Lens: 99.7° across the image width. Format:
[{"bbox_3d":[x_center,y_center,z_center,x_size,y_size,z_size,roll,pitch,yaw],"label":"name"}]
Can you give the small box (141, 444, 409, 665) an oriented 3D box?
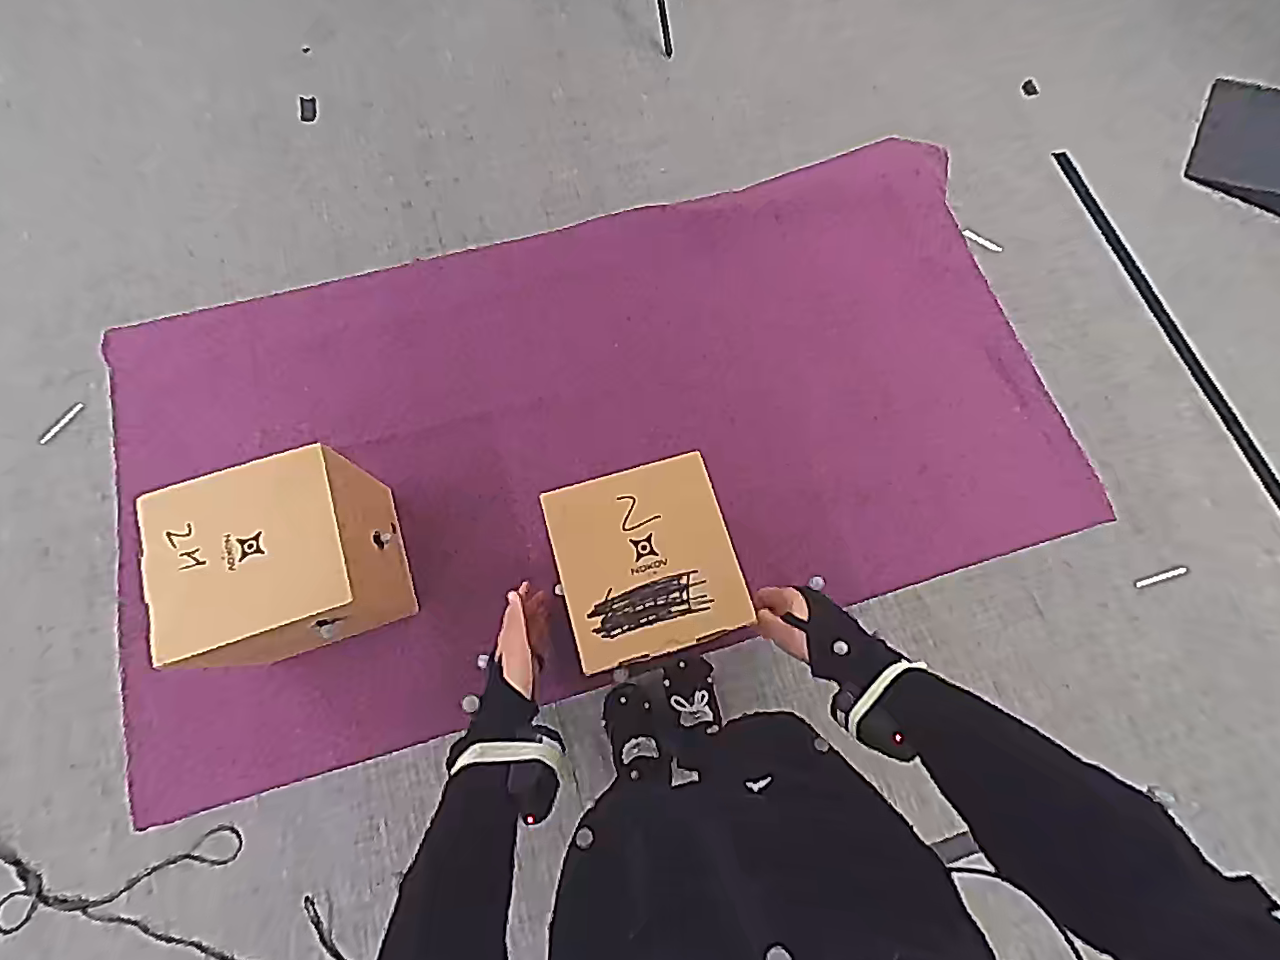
[{"bbox_3d":[-0.367,0.085,0.576,0.179,0.176,0.168,-18,74,-7],"label":"small box"}]
